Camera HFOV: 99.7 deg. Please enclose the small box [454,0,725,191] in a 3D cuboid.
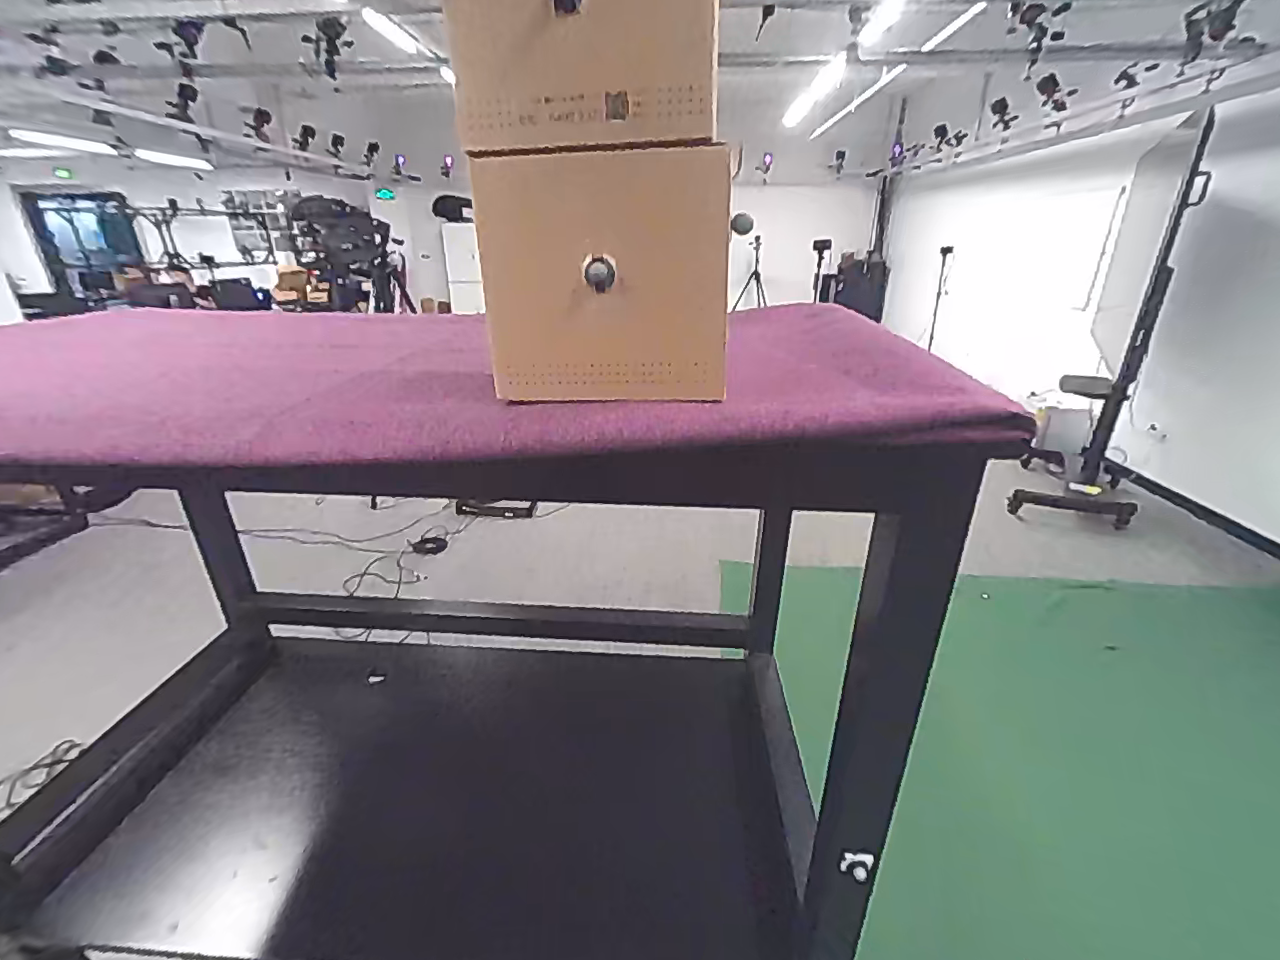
[{"bbox_3d":[-0.023,-0.317,0.389,0.168,0.176,0.179,1,22,6],"label":"small box"}]
